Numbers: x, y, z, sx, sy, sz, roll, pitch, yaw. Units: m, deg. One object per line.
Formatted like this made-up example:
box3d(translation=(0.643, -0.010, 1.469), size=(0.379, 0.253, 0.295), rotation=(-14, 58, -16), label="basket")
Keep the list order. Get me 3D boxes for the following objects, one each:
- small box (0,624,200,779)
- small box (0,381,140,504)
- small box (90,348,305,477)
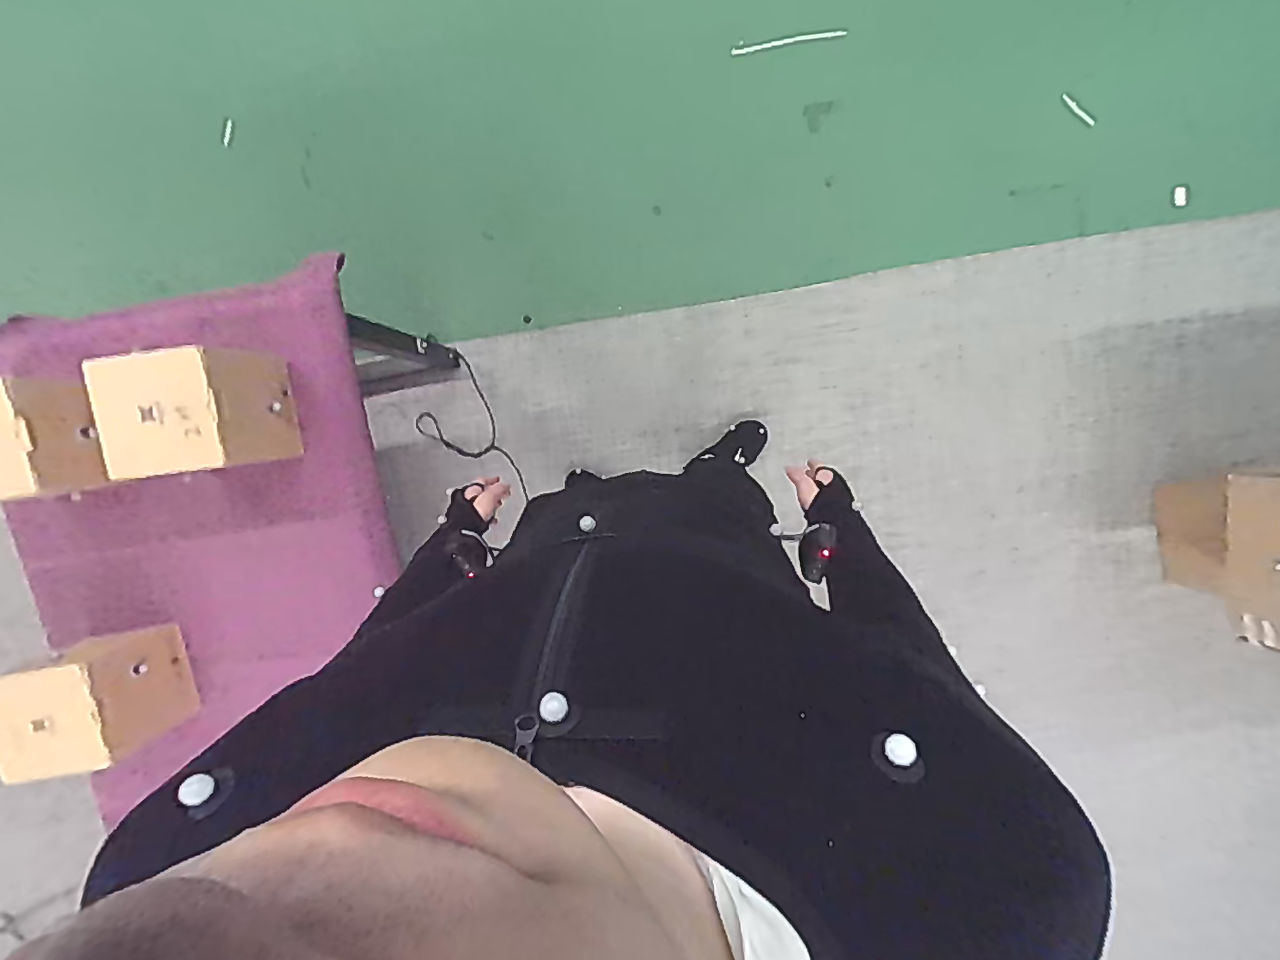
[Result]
box3d(translation=(-0.876, 0.352, 0.890), size=(0.179, 0.176, 0.168), rotation=(-10, 95, 3), label="small box")
box3d(translation=(-0.936, -0.057, 0.845), size=(0.179, 0.176, 0.168), rotation=(-9, 95, 2), label="small box")
box3d(translation=(-0.660, -0.101, 0.827), size=(0.179, 0.176, 0.168), rotation=(-7, 97, 4), label="small box")
